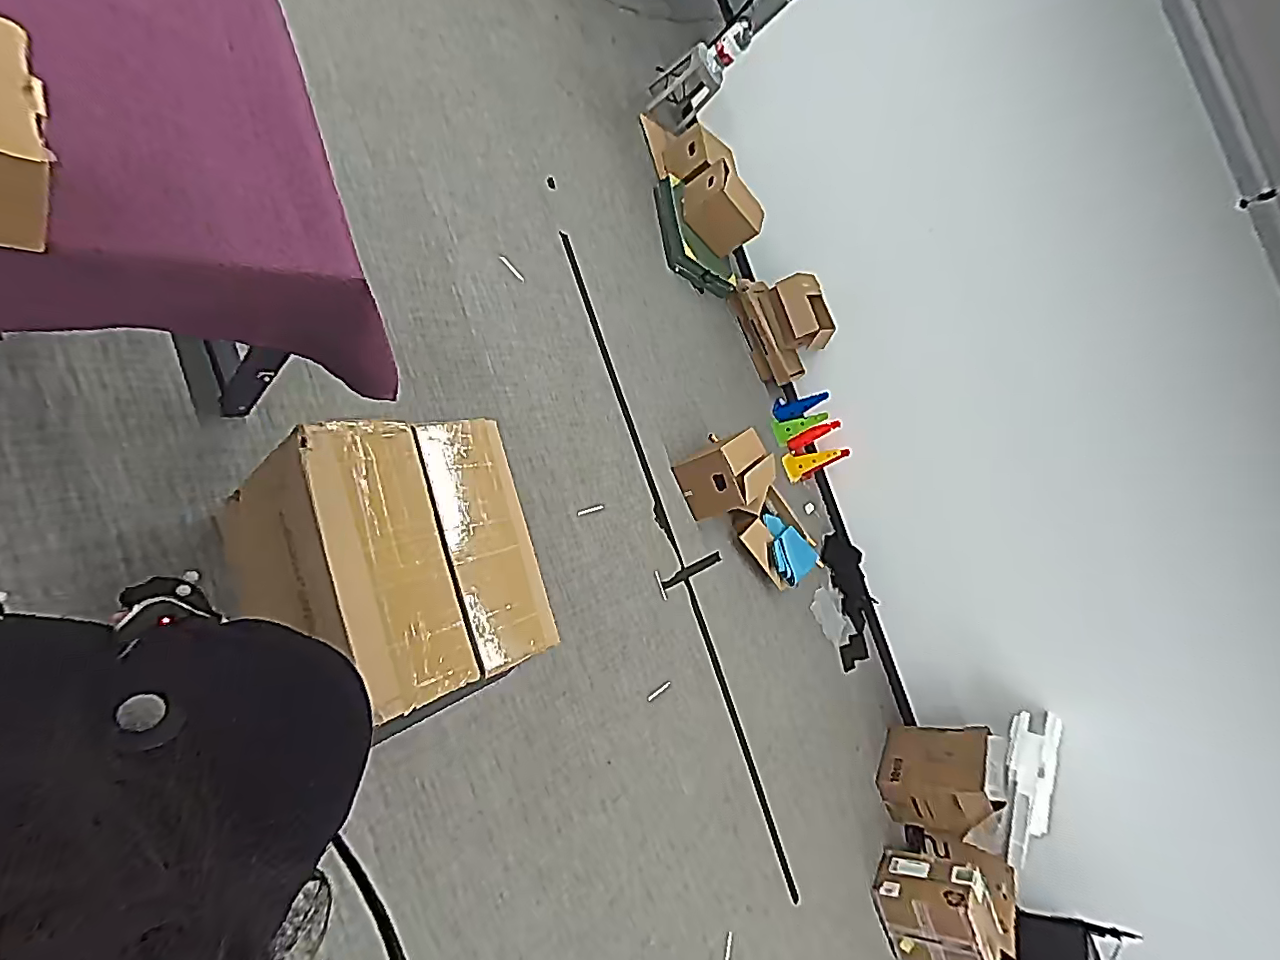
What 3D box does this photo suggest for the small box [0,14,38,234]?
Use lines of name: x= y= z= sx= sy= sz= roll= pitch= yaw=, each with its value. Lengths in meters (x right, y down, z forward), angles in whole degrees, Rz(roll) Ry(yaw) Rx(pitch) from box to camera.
small box: x=-0.744 y=-0.374 z=0.538 sx=0.179 sy=0.176 sz=0.168 roll=-8 pitch=79 yaw=-51
